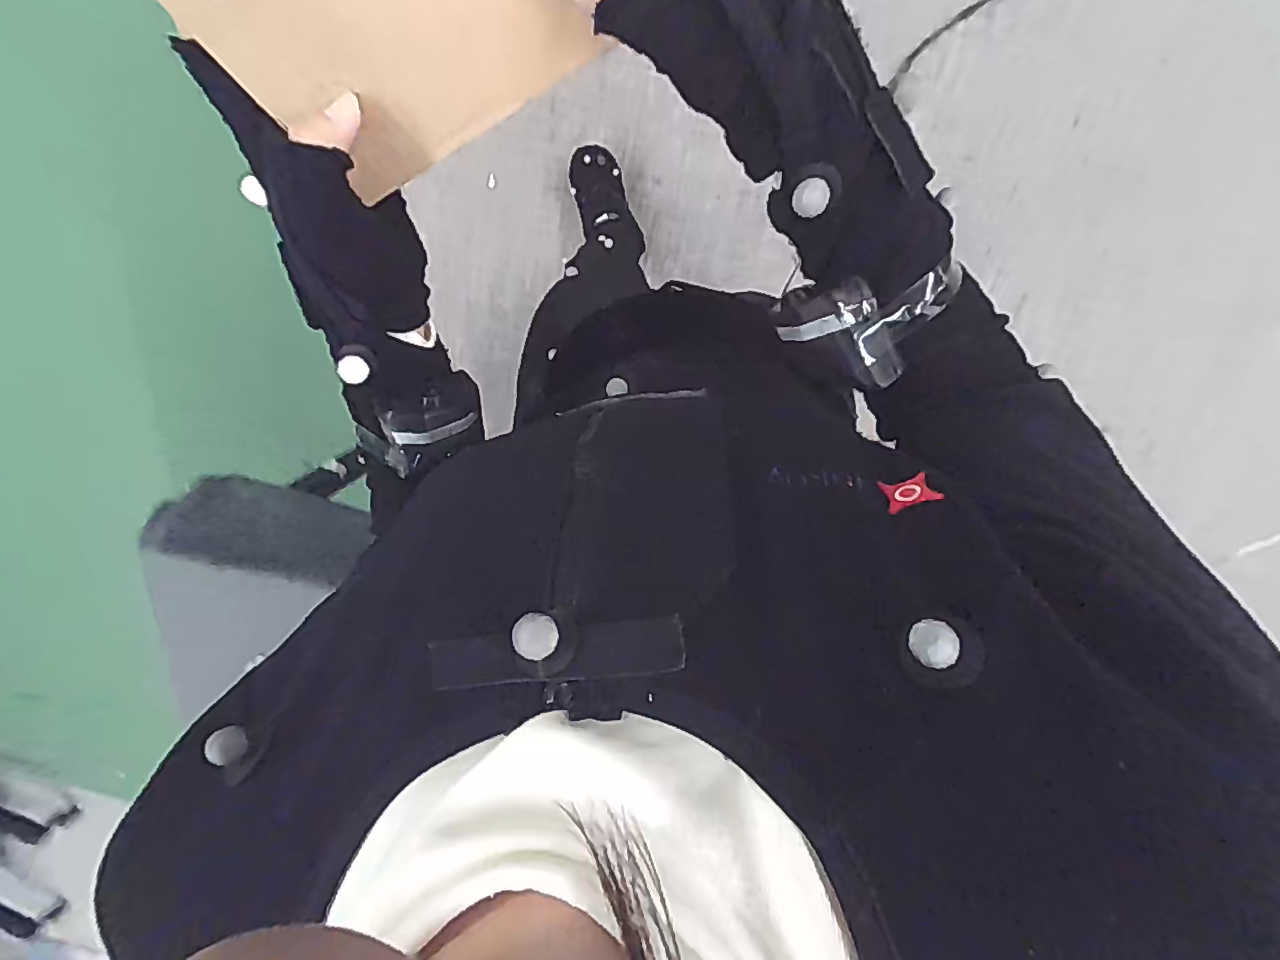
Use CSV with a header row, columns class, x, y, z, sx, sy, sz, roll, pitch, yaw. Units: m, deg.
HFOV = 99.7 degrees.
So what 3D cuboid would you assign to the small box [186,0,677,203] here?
class,x,y,z,sx,sy,sz,roll,pitch,yaw
small box,-0.096,-0.271,0.229,0.179,0.176,0.168,-19,143,24
